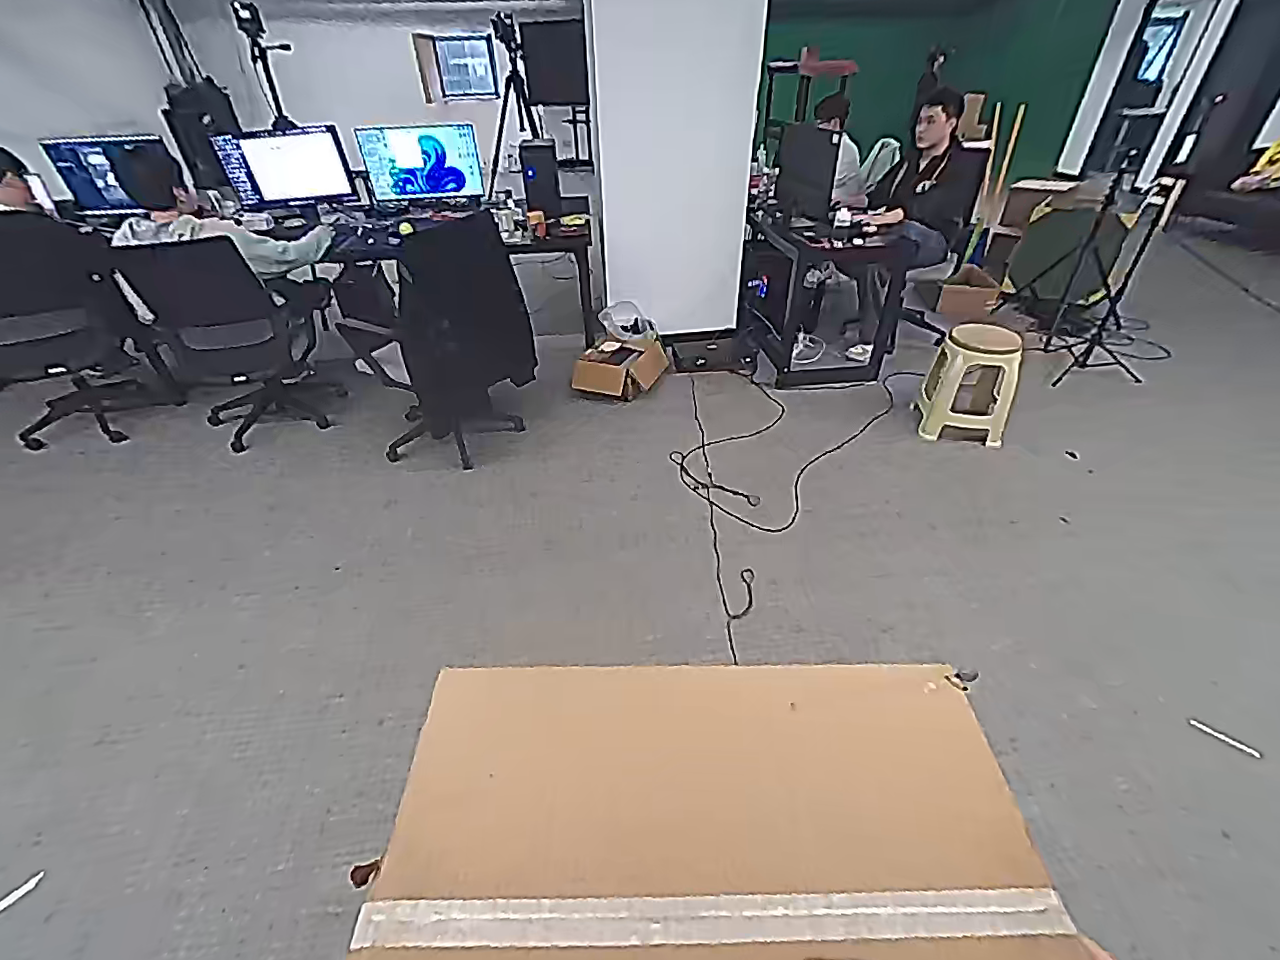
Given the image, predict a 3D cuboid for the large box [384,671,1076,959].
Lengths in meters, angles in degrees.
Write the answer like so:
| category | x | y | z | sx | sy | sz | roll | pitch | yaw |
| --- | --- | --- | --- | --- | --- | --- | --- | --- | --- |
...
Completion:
| category | x | y | z | sx | sy | sz | roll | pitch | yaw |
| --- | --- | --- | --- | --- | --- | --- | --- | --- | --- |
| large box | 0.048 | 0.370 | 0.423 | 0.408 | 0.320 | 0.320 | 0 | 44 | -1 |
